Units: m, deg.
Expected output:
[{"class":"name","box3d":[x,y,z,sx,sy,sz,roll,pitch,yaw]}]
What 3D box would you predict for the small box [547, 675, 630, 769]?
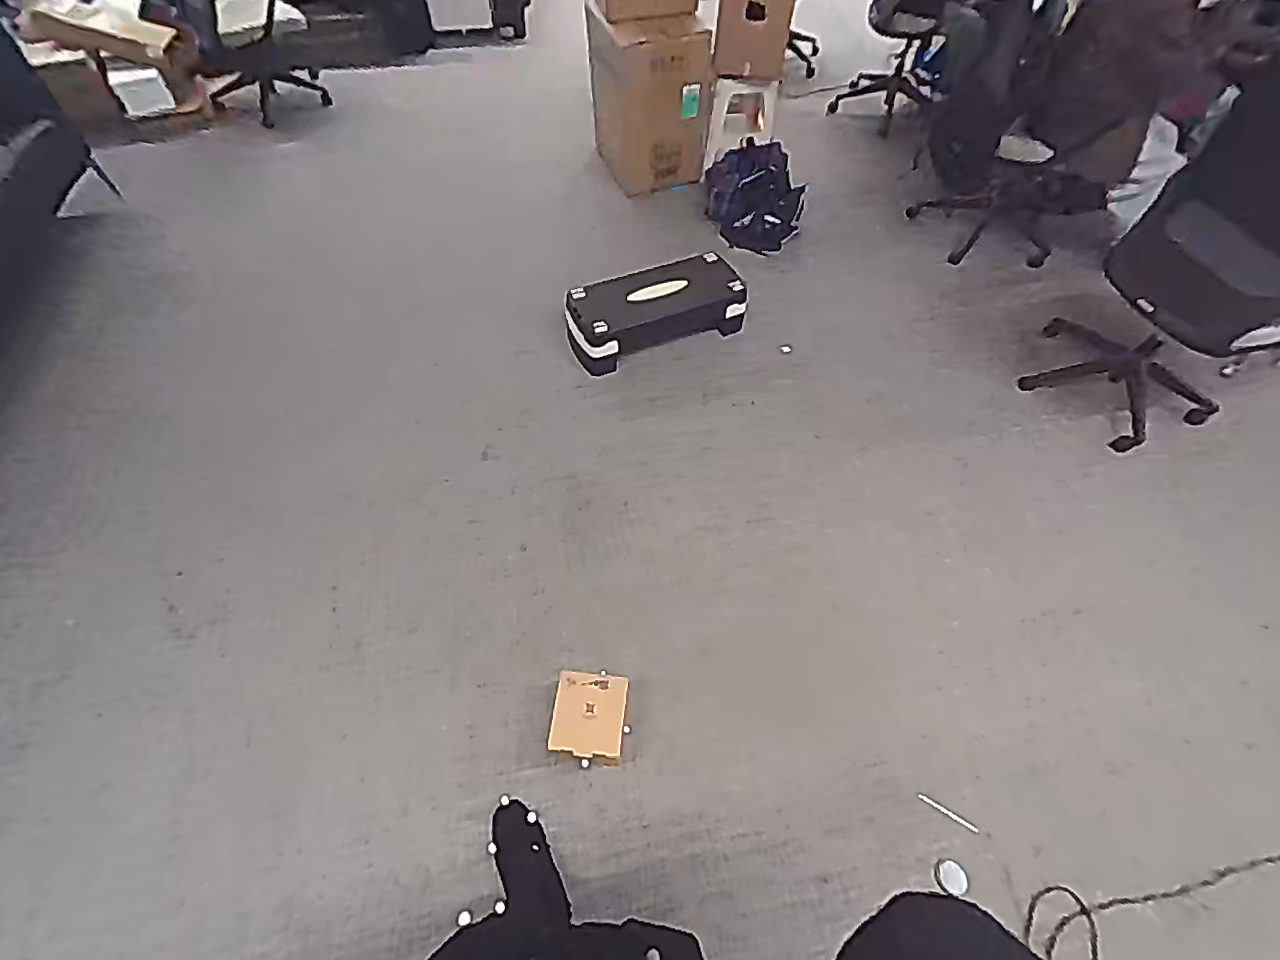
[{"class":"small box","box3d":[-0.115,0.587,1.303,0.168,0.176,0.179,5,57,3]}]
